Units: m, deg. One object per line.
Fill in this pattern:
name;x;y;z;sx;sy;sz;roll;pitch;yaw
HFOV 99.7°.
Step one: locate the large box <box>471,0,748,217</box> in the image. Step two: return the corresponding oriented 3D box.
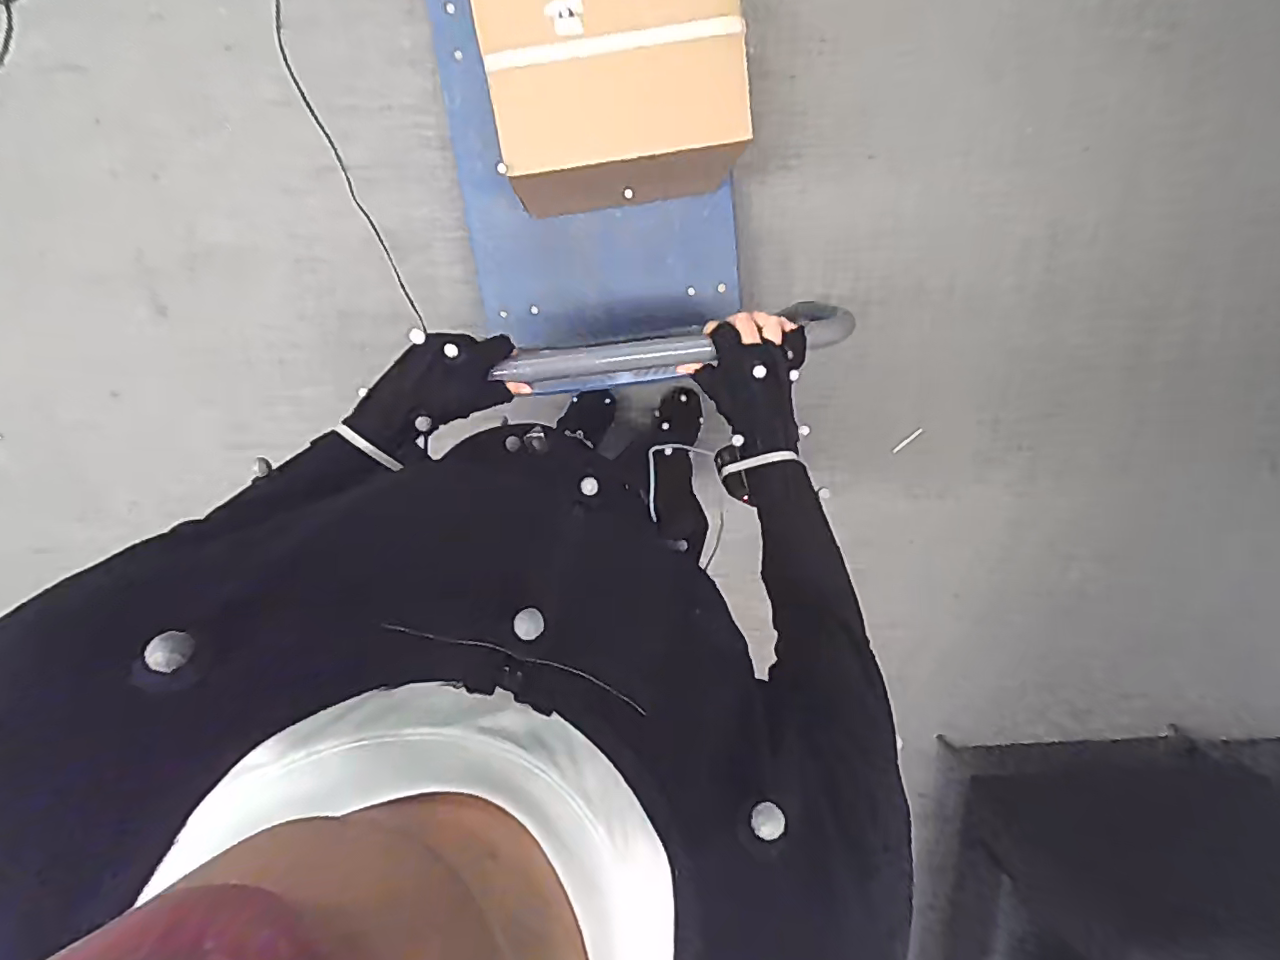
large box;-0.048;-0.701;0.979;0.408;0.320;0.320;-9;104;0
